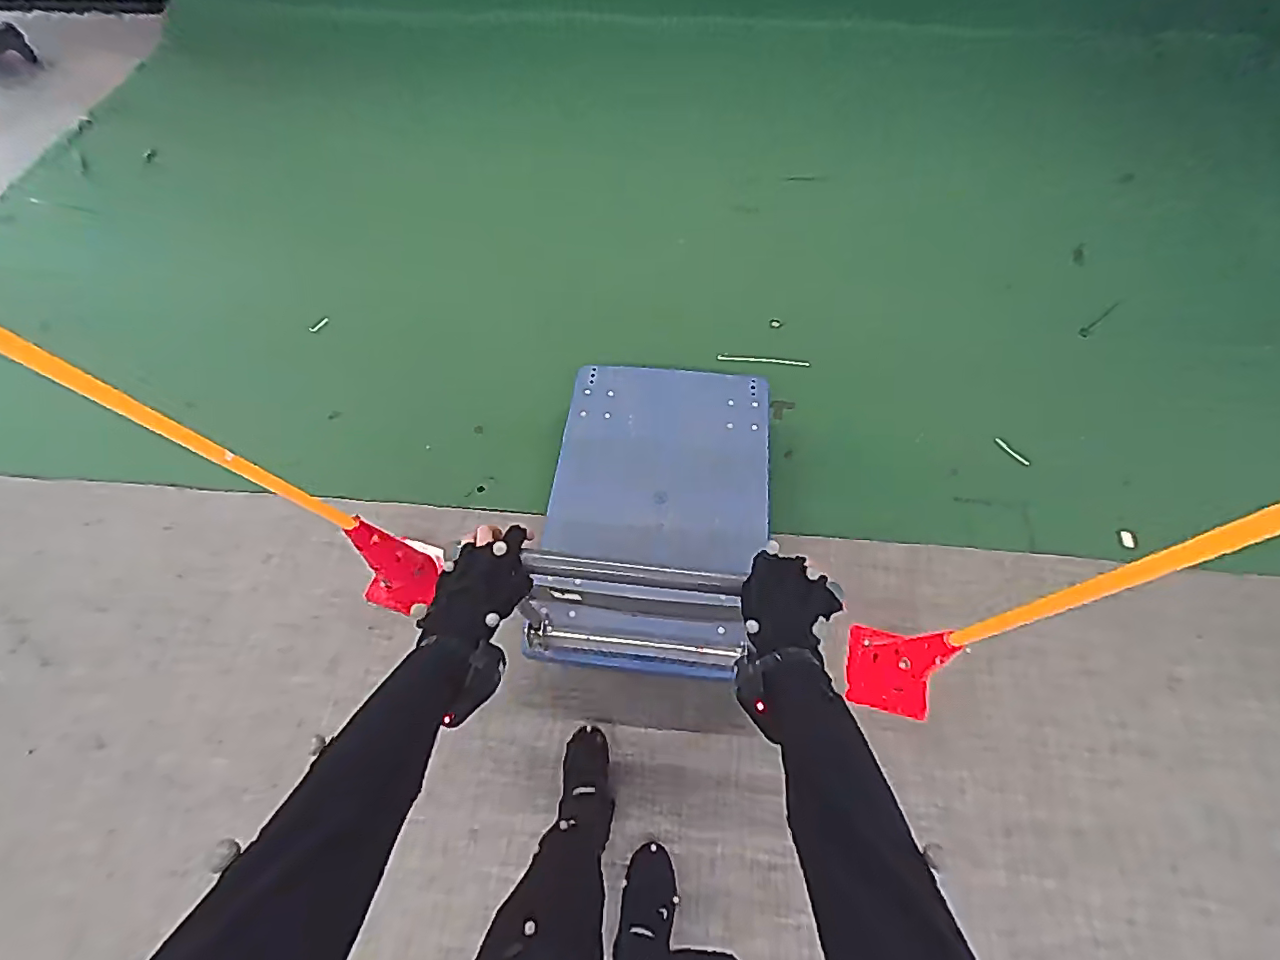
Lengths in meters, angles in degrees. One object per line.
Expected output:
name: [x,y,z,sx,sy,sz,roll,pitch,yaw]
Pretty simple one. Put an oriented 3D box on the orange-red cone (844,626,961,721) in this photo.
orange-red cone: [0.622,0.404,1.221,0.198,0.360,0.199,14,63,9]
